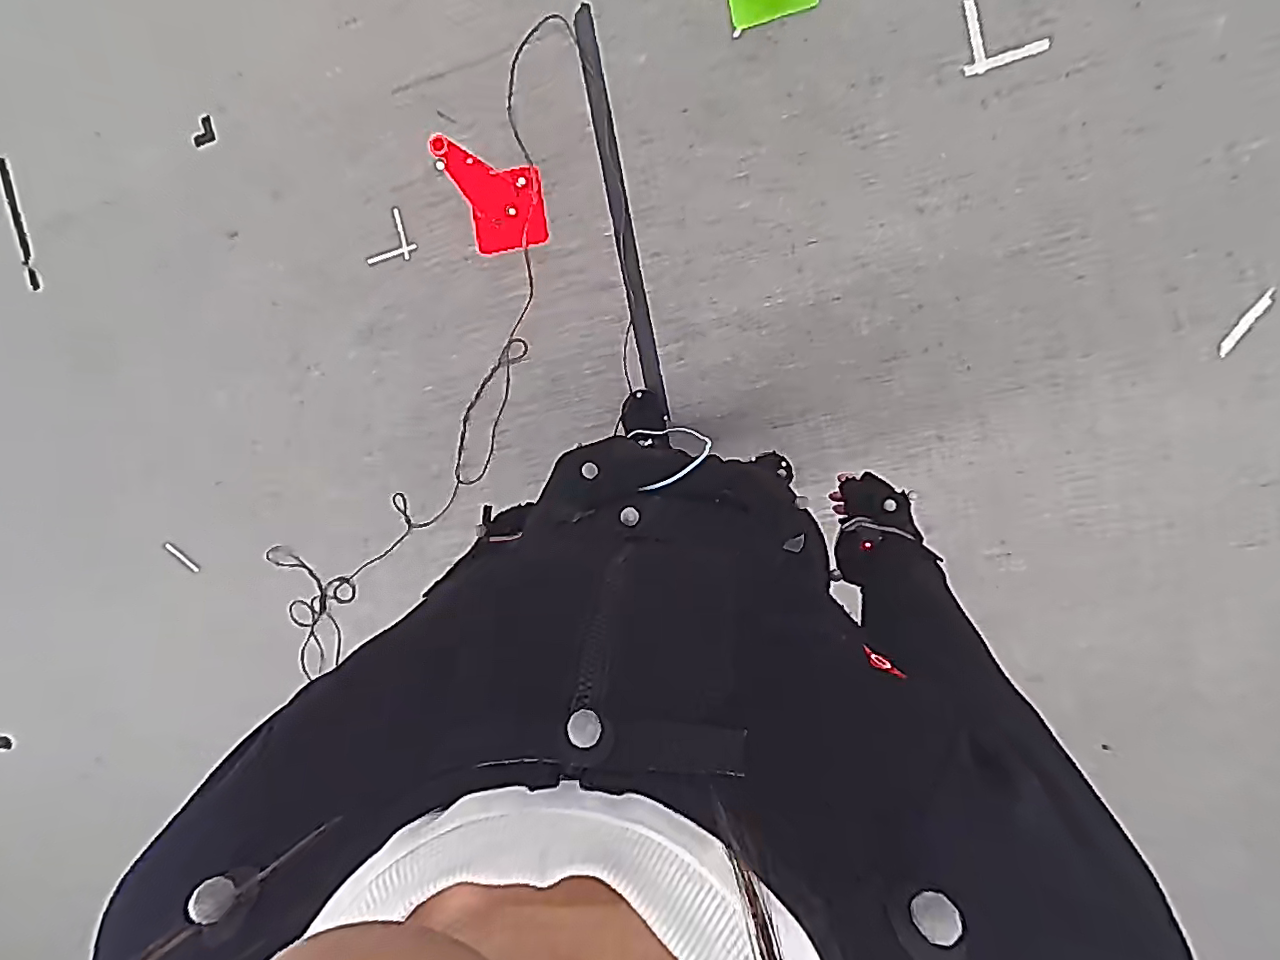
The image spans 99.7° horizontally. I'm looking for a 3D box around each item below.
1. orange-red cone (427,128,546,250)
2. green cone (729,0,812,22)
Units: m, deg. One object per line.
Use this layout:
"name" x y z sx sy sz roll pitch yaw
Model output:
"orange-red cone" -0.376 -0.692 1.239 0.199 0.360 0.198 -6 95 11
"green cone" 0.273 -1.154 1.071 0.202 0.368 0.200 -11 95 9
